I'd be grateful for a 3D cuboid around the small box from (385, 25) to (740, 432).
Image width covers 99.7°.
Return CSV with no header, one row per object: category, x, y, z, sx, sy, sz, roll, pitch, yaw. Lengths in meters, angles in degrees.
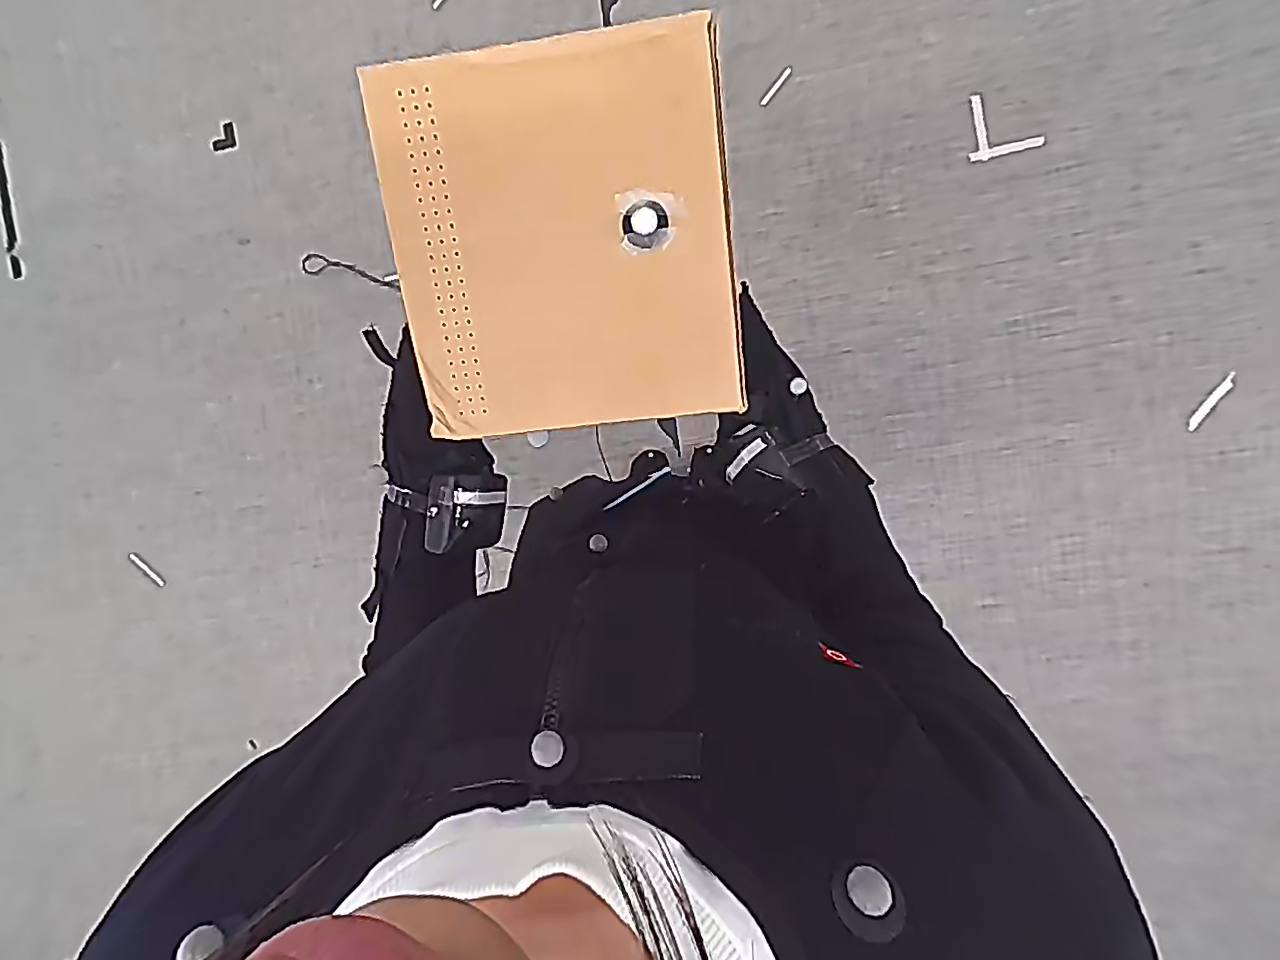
small box,-0.037,-0.135,0.348,0.176,0.168,0.179,-6,103,5
